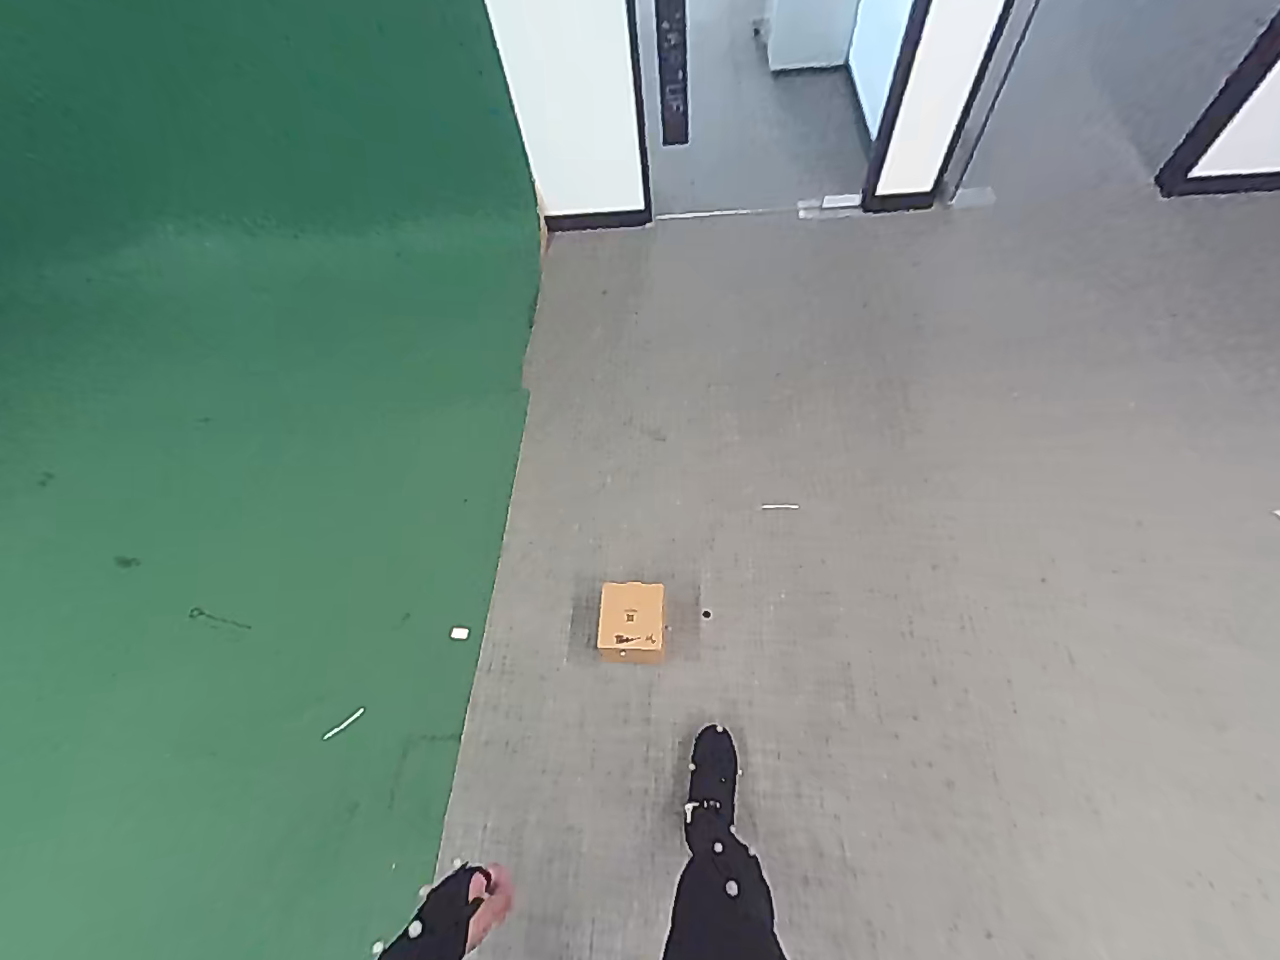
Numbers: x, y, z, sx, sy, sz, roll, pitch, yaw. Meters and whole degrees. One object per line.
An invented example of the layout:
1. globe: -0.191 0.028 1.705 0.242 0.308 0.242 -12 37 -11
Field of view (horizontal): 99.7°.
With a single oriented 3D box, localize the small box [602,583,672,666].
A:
1. small box: -0.003 0.394 1.469 0.168 0.176 0.179 0 59 8
